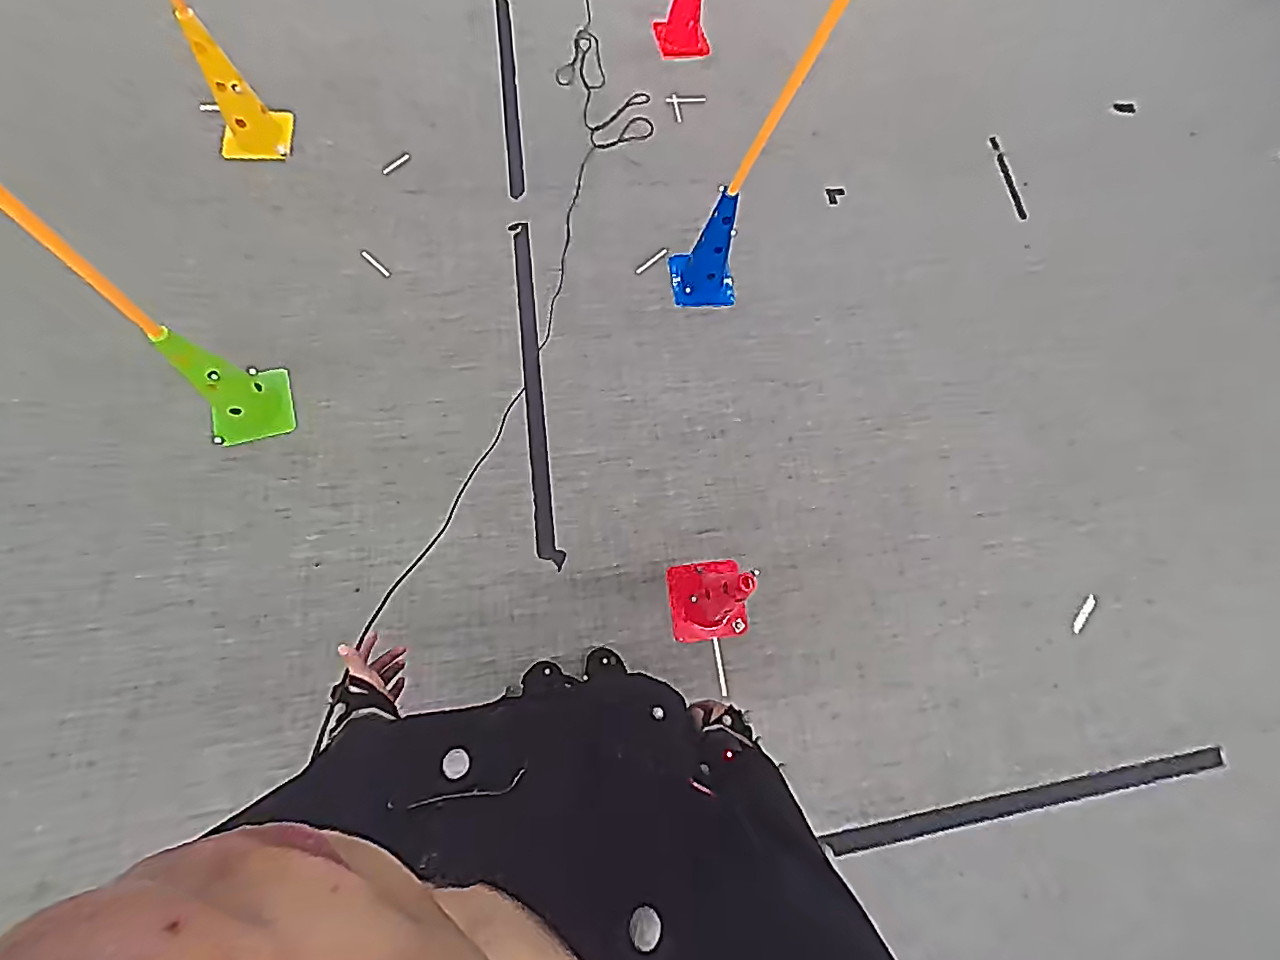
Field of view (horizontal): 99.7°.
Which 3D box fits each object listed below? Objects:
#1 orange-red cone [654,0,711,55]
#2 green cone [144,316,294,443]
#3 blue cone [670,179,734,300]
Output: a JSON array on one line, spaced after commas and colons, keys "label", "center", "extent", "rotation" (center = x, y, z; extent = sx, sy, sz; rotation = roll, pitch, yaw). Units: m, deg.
[{"label": "orange-red cone", "center": [0.179, -1.778, 1.937], "extent": [0.199, 0.360, 0.198], "rotation": [-11, 73, -8]}, {"label": "green cone", "center": [-1.034, -0.265, 1.303], "extent": [0.200, 0.368, 0.202], "rotation": [-16, 72, -12]}, {"label": "blue cone", "center": [0.217, -0.718, 1.607], "extent": [0.193, 0.380, 0.192], "rotation": [-3, 72, -8]}]
